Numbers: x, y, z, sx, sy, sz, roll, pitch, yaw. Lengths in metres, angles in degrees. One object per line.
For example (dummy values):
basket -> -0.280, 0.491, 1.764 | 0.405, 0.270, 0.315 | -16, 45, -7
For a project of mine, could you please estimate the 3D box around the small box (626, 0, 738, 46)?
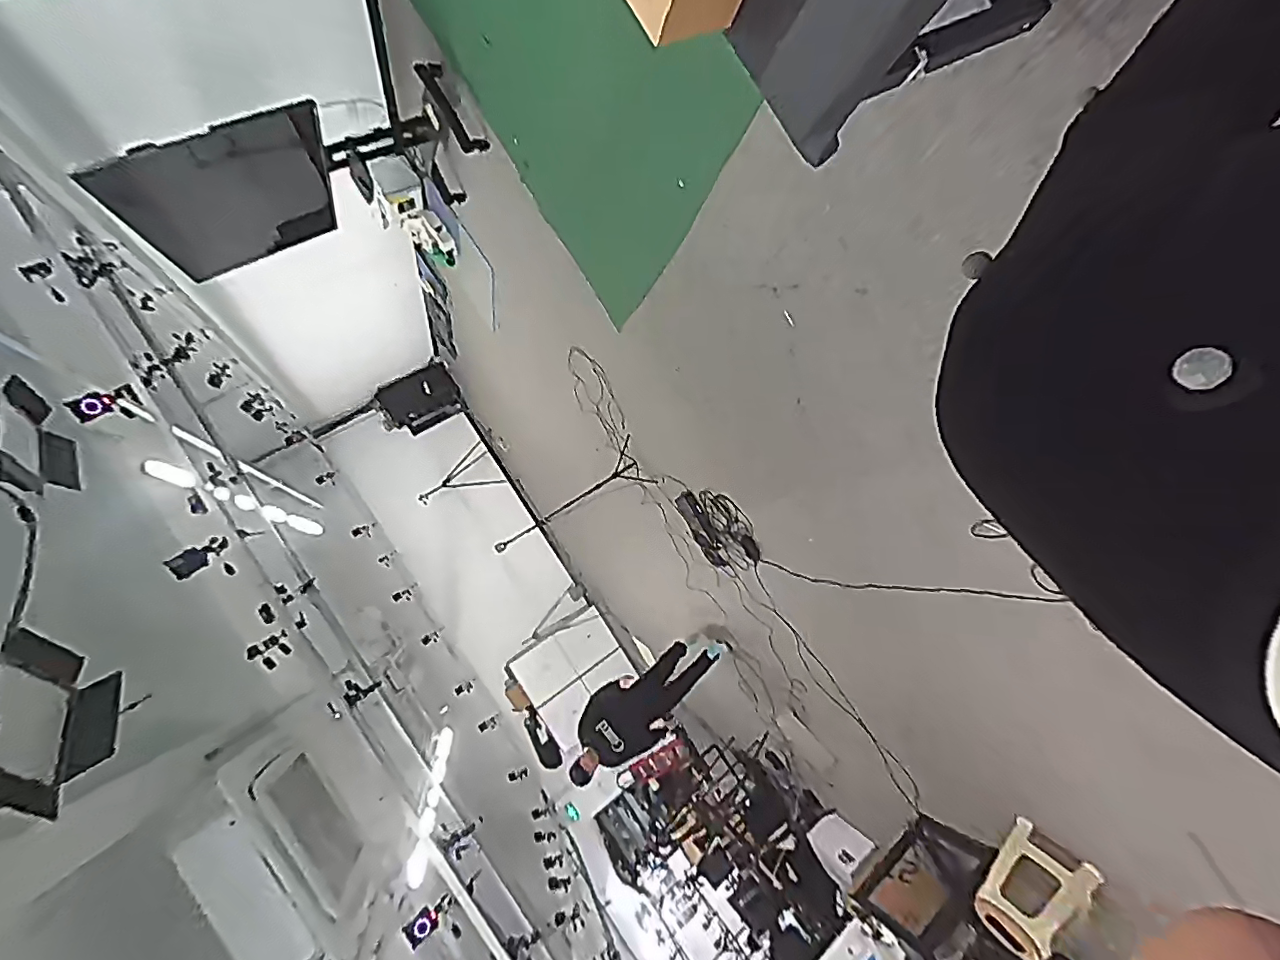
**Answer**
small box -> 0.072, -0.828, 0.827 | 0.168, 0.176, 0.179 | 60, 160, -2
